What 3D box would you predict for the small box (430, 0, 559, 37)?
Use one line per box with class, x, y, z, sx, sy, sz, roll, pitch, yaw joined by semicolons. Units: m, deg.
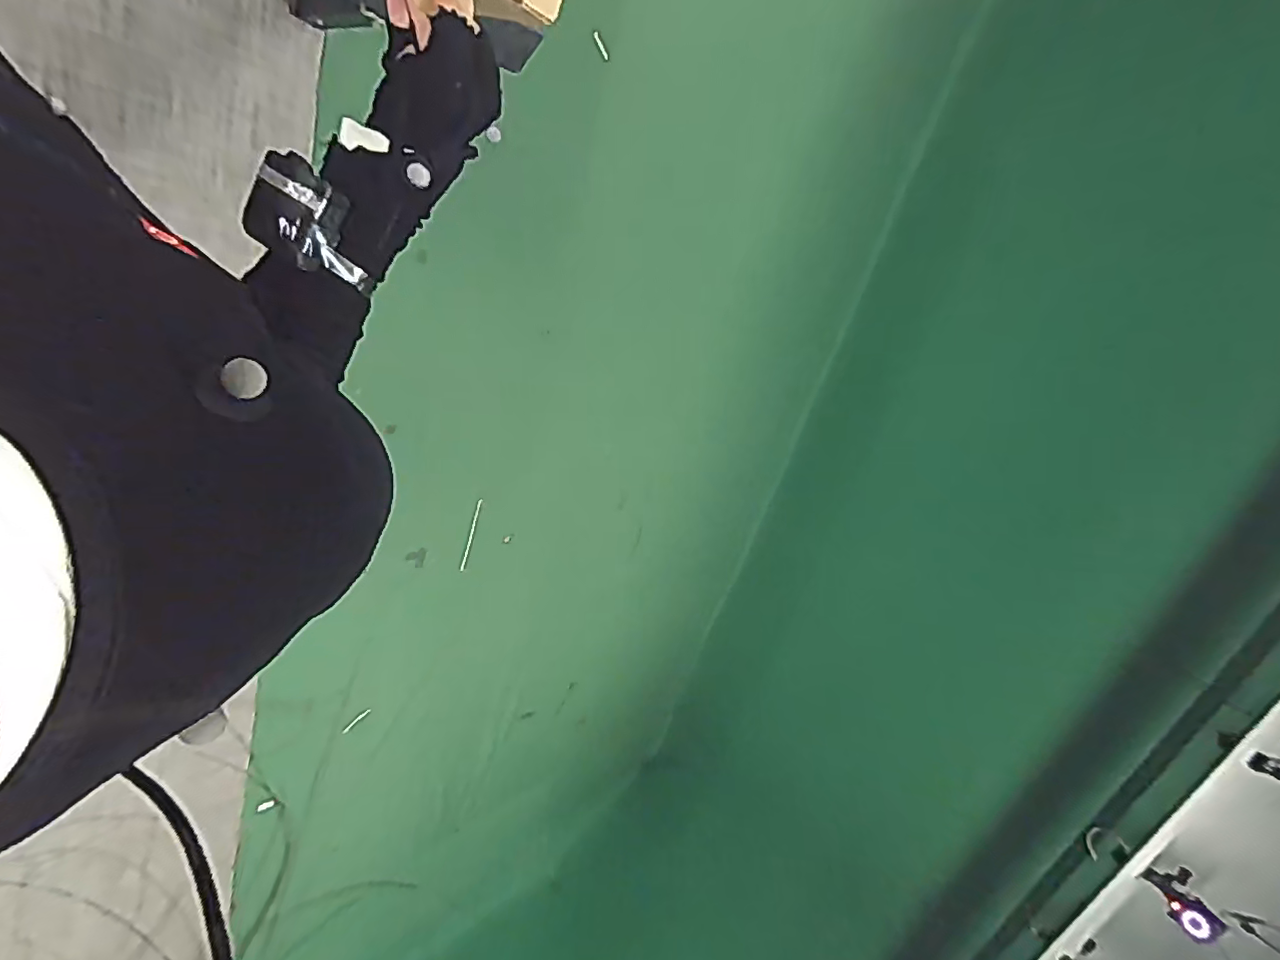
small box;-0.146;-0.456;0.370;0.168;0.176;0.179;-9;130;-49
